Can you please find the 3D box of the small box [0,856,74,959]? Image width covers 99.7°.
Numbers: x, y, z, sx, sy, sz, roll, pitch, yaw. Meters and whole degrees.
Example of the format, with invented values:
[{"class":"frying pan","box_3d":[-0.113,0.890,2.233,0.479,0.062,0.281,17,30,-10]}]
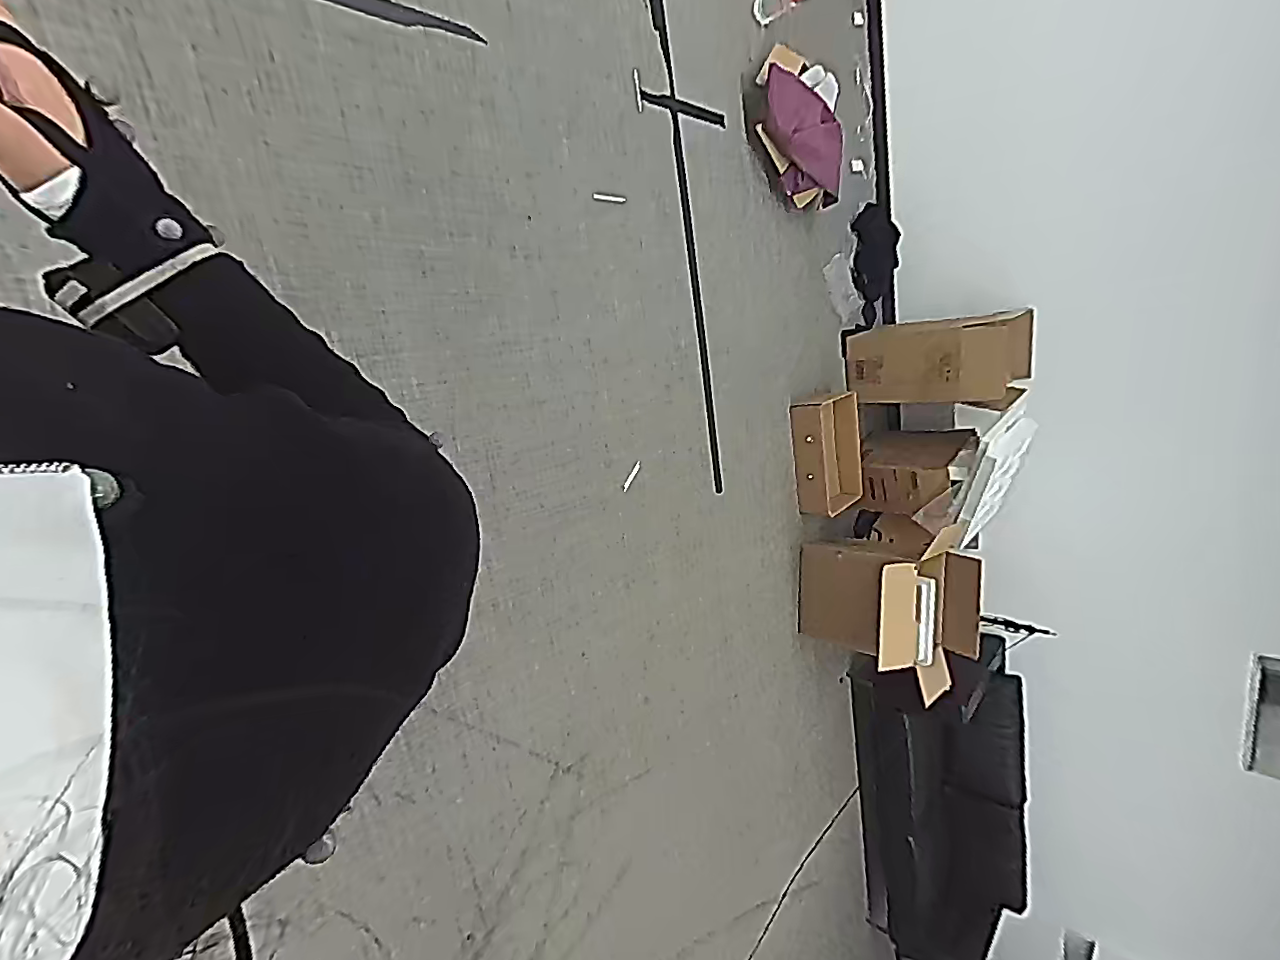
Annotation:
[{"class":"small box","box_3d":[-0.686,0.521,0.518,0.168,0.176,0.179,-17,103,-41]}]
